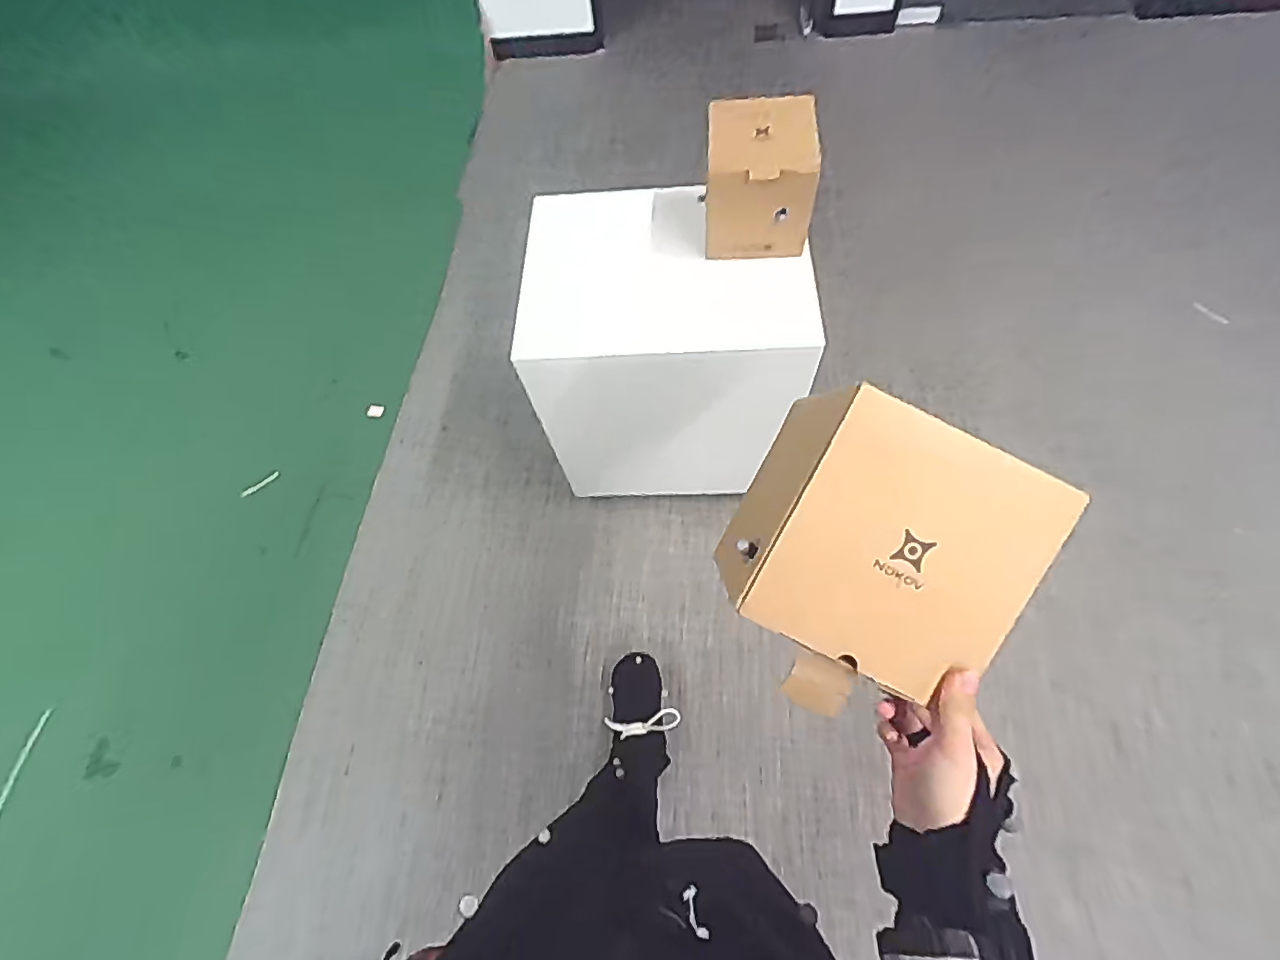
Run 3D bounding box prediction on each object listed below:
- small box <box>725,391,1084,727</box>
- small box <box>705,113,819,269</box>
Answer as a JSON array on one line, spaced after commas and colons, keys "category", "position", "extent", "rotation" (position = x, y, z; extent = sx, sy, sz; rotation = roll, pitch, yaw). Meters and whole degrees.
[{"category": "small box", "position": [0.180, 0.047, 0.434], "extent": [0.168, 0.176, 0.179], "rotation": [27, 96, 0]}, {"category": "small box", "position": [0.196, -0.474, 0.906], "extent": [0.168, 0.176, 0.179], "rotation": [1, 63, 6]}]
